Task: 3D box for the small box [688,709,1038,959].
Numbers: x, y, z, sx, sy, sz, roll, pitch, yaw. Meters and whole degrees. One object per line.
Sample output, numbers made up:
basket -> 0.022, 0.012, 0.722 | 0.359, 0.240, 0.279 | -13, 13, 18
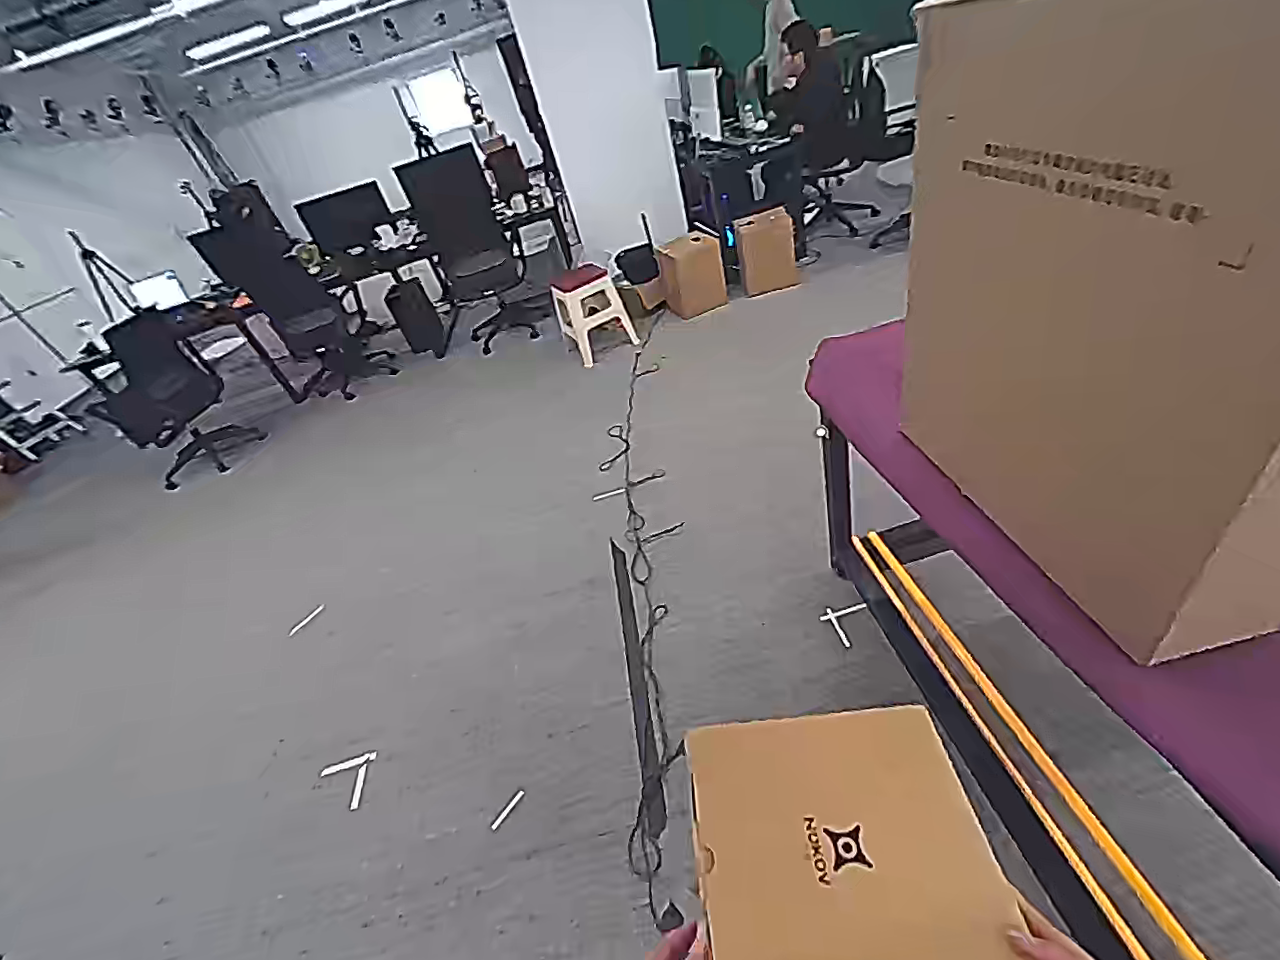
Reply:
small box -> 0.132, 0.286, 0.383 | 0.179, 0.176, 0.168 | -7, 40, 3
